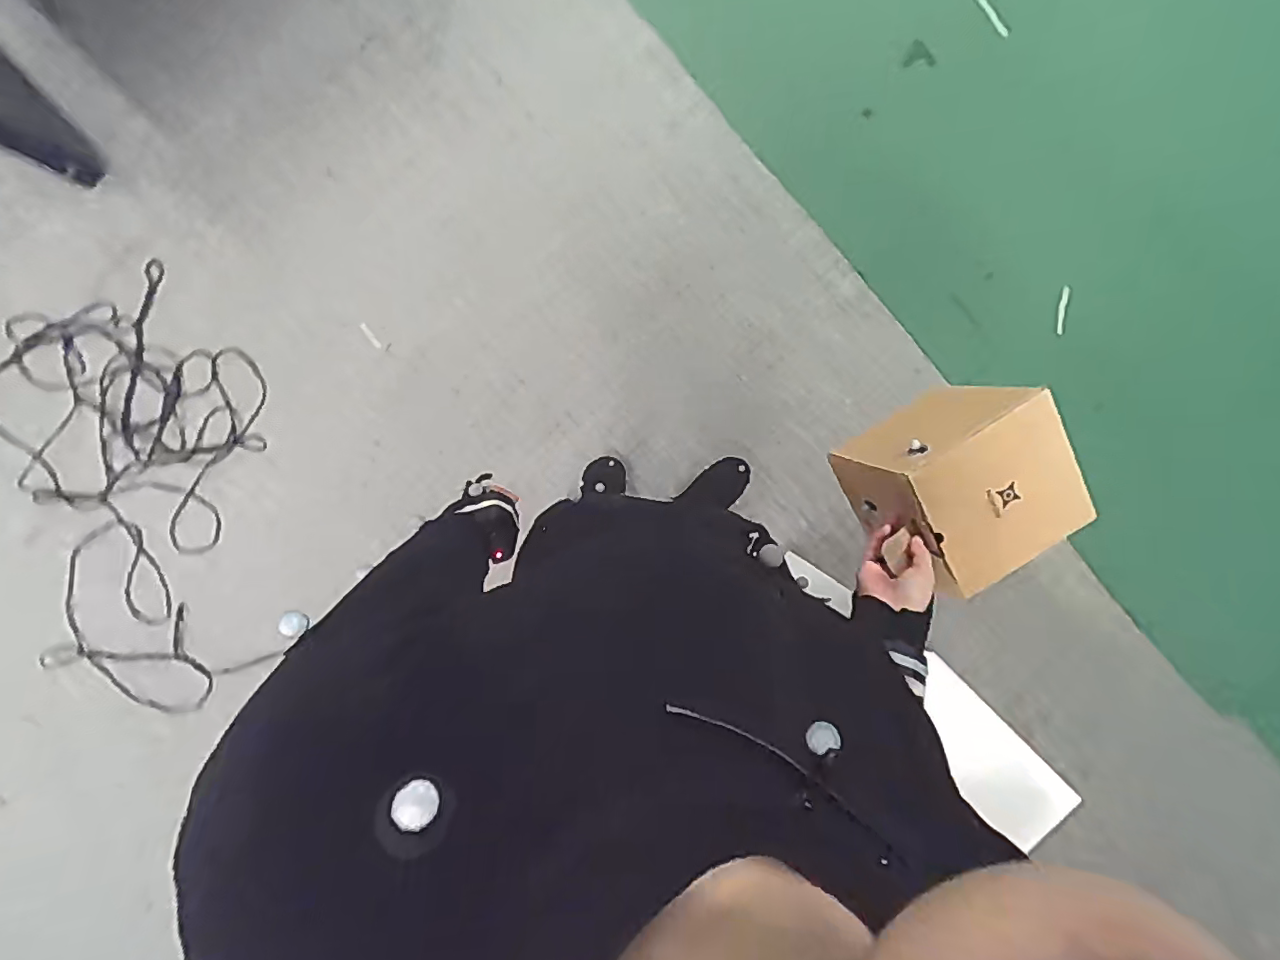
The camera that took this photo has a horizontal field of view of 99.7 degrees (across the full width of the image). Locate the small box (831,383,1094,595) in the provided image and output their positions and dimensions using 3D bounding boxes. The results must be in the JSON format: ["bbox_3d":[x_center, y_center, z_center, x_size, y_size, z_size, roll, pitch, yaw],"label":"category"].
[{"bbox_3d":[0.365,-0.003,0.638,0.179,0.176,0.168,-33,104,-1],"label":"small box"}]
